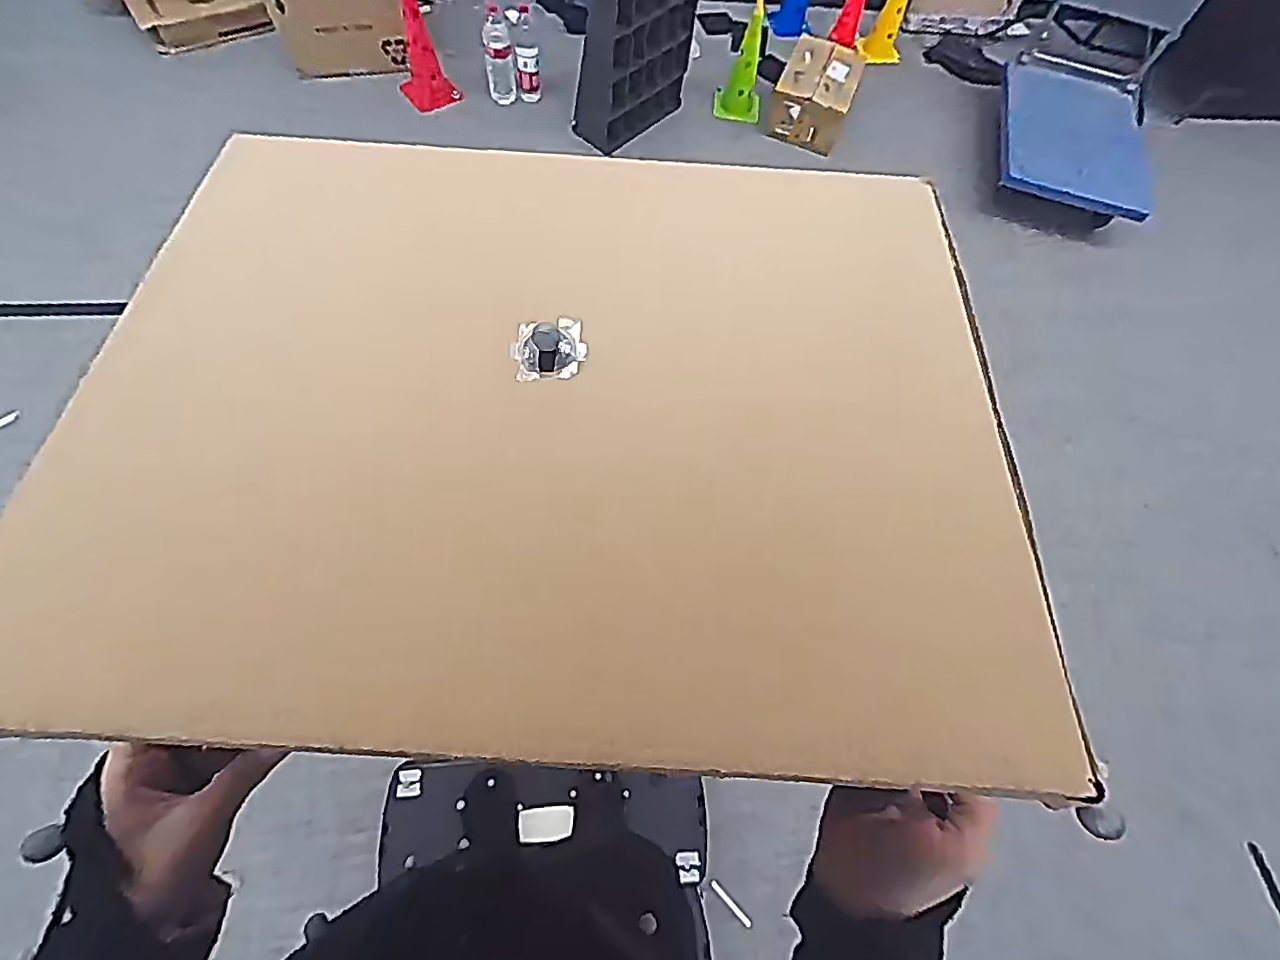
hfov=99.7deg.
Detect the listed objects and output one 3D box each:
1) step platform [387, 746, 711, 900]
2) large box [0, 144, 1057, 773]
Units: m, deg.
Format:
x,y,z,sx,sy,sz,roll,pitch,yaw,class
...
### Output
x,y,z,sx,sy,sz,roll,pitch,yaw,class
-0.185,0.734,1.200,0.684,0.204,0.286,3,67,-5,step platform
-0.056,0.011,0.377,0.408,0.320,0.320,2,66,1,large box
